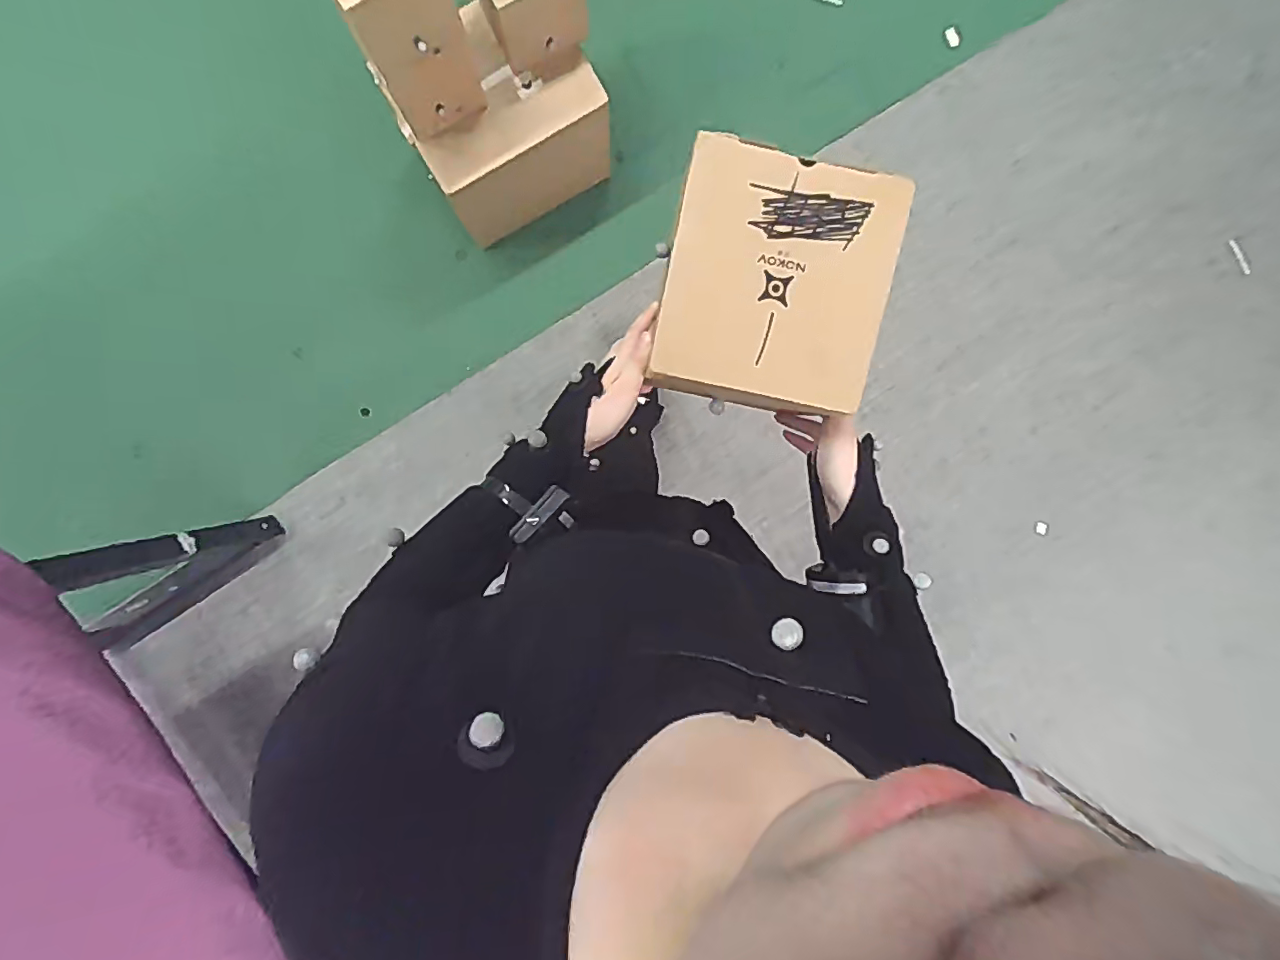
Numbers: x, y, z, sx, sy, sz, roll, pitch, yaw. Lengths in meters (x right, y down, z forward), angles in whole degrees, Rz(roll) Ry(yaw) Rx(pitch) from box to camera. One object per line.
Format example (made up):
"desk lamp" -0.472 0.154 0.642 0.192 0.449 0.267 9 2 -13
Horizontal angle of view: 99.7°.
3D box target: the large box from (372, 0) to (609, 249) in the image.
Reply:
"large box" -0.318 -0.829 1.270 0.408 0.320 0.320 -31 94 -2

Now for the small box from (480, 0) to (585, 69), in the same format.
"small box" -0.213 -0.941 1.024 0.179 0.176 0.168 -26 93 -1

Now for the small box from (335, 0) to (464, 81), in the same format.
"small box" -0.410 -0.799 0.858 0.168 0.176 0.179 -32 94 -1

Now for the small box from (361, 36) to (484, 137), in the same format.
"small box" -0.422 -0.807 1.023 0.168 0.176 0.179 -31 94 -2

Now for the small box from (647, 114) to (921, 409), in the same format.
"small box" 0.101 -0.164 0.467 0.168 0.176 0.179 12 97 -2
